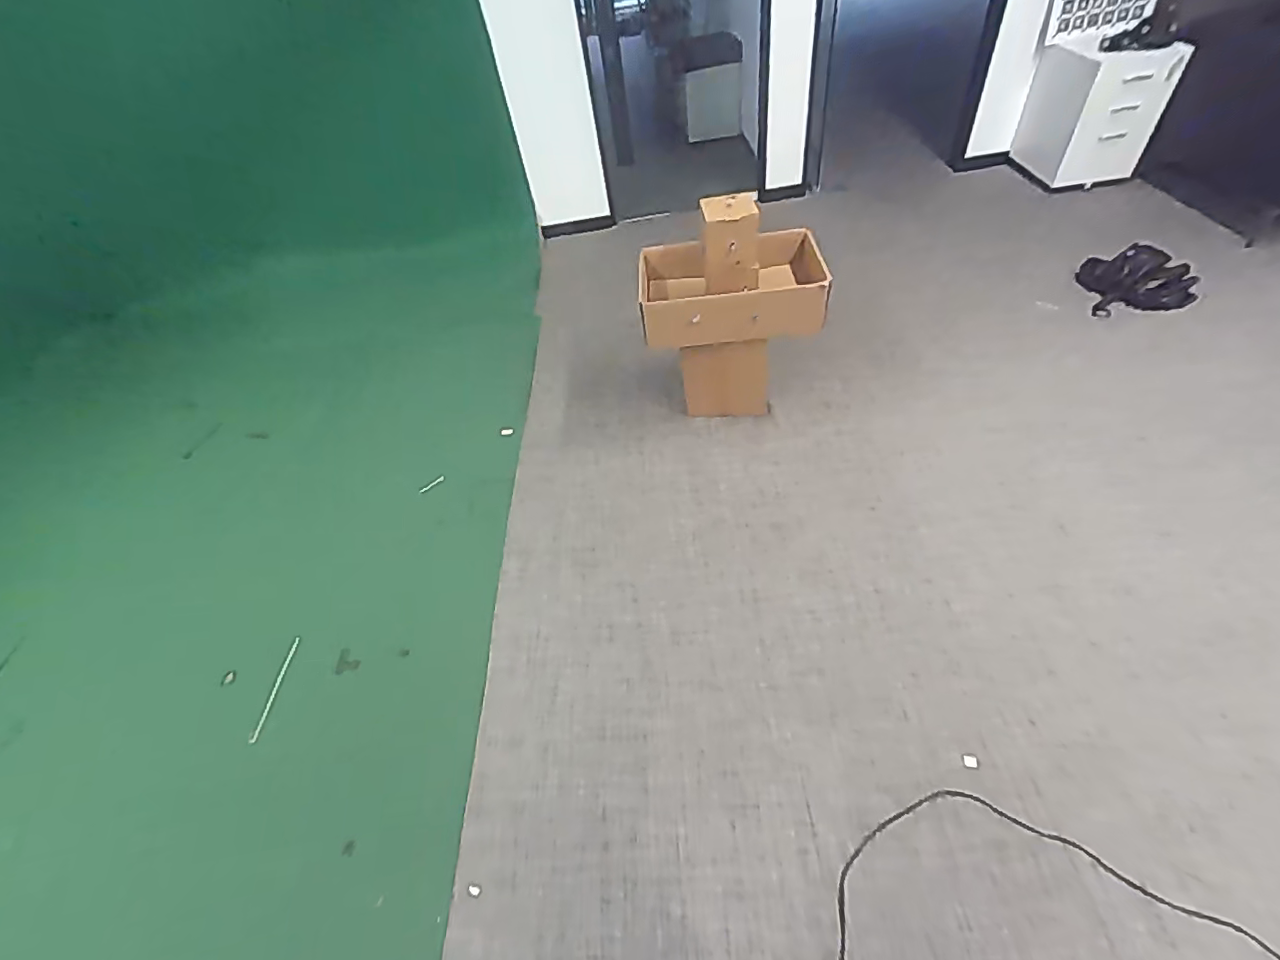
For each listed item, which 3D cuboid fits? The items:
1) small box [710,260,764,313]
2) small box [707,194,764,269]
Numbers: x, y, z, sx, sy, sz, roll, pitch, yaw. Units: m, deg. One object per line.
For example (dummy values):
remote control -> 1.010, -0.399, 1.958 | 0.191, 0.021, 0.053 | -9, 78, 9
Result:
small box -> 0.339, -0.698, 1.890 | 0.168, 0.176, 0.179 | -6, 46, 4
small box -> 0.311, -0.808, 1.772 | 0.168, 0.176, 0.179 | -5, 48, 4
